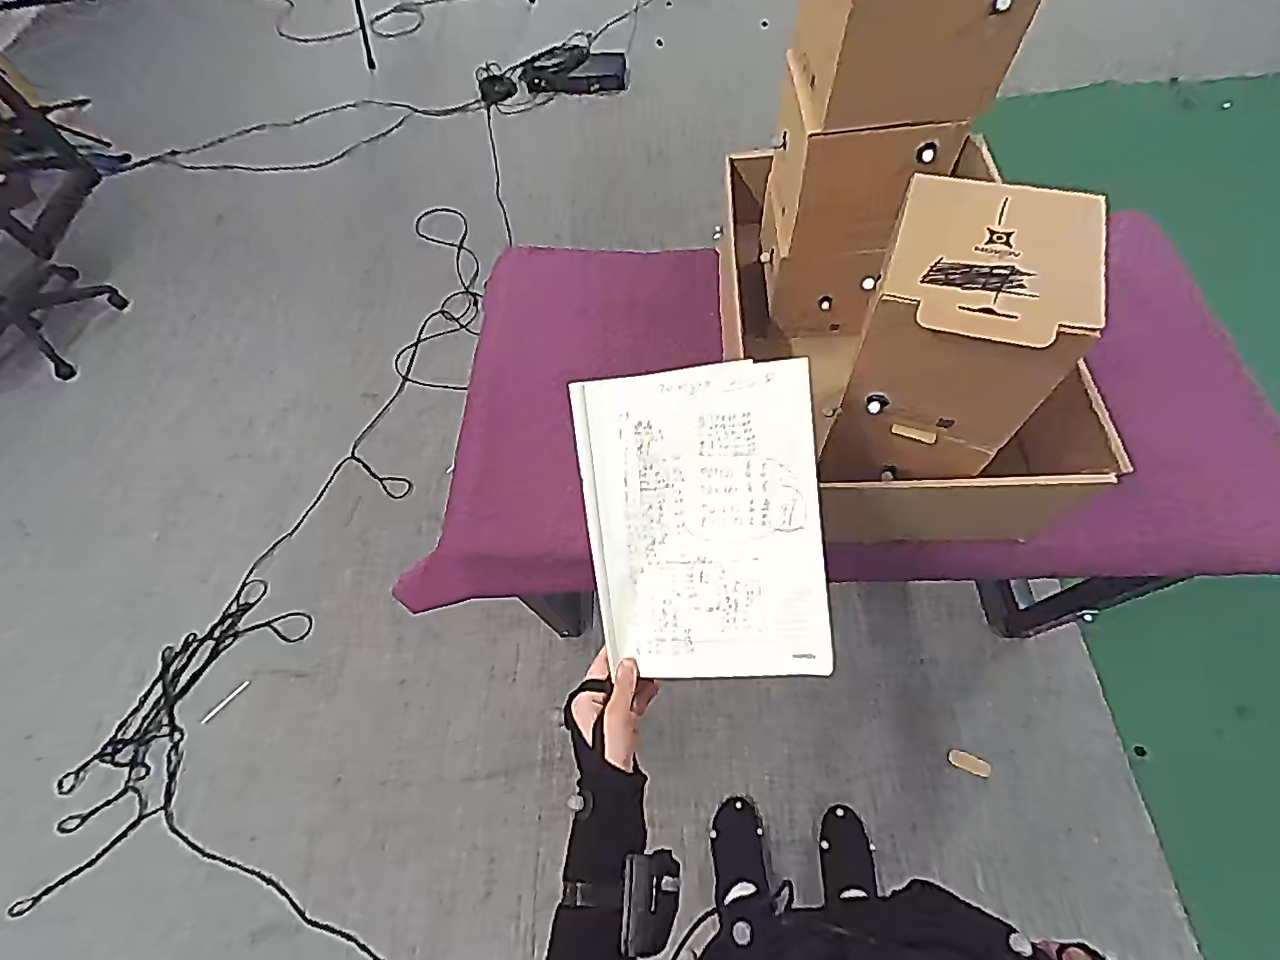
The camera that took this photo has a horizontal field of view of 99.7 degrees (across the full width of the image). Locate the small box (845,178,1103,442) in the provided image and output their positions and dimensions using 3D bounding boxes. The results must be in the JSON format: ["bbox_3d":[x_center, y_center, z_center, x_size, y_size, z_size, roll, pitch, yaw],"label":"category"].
[{"bbox_3d":[0.317,-0.163,0.541,0.168,0.176,0.179,17,64,16],"label":"small box"}]

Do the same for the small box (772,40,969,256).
[{"bbox_3d":[0.267,-0.405,0.679,0.179,0.176,0.168,-4,64,4],"label":"small box"}]

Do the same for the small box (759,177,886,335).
[{"bbox_3d":[0.277,-0.336,0.825,0.168,0.176,0.179,-1,64,5],"label":"small box"}]
